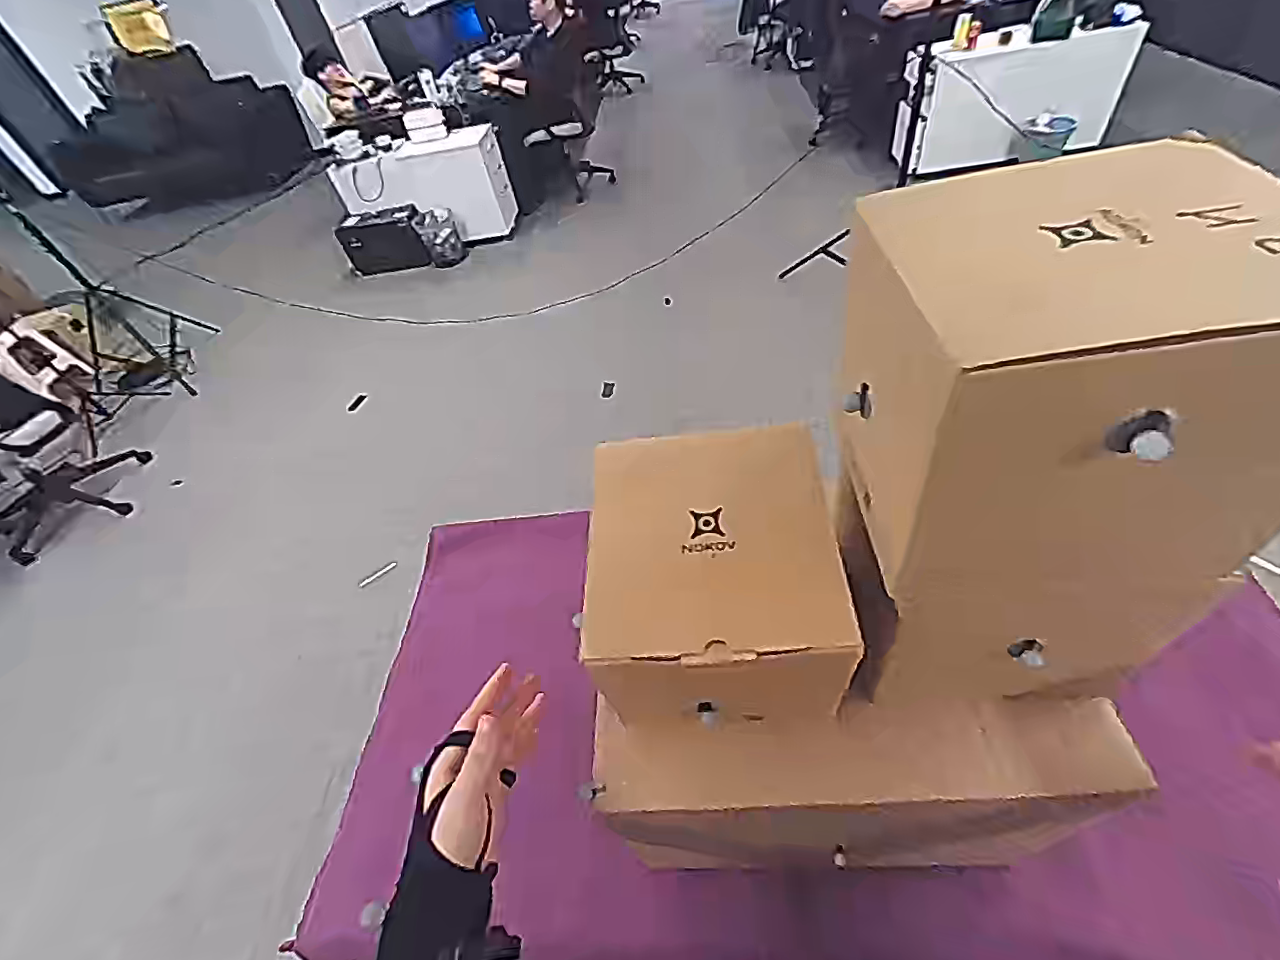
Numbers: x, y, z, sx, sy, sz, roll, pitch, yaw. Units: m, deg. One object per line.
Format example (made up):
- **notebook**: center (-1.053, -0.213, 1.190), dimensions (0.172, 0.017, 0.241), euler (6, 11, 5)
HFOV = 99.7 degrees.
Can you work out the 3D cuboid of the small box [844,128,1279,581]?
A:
- **small box**: center (0.217, -0.058, 0.294), dimensions (0.179, 0.176, 0.168), euler (-5, 47, 9)
